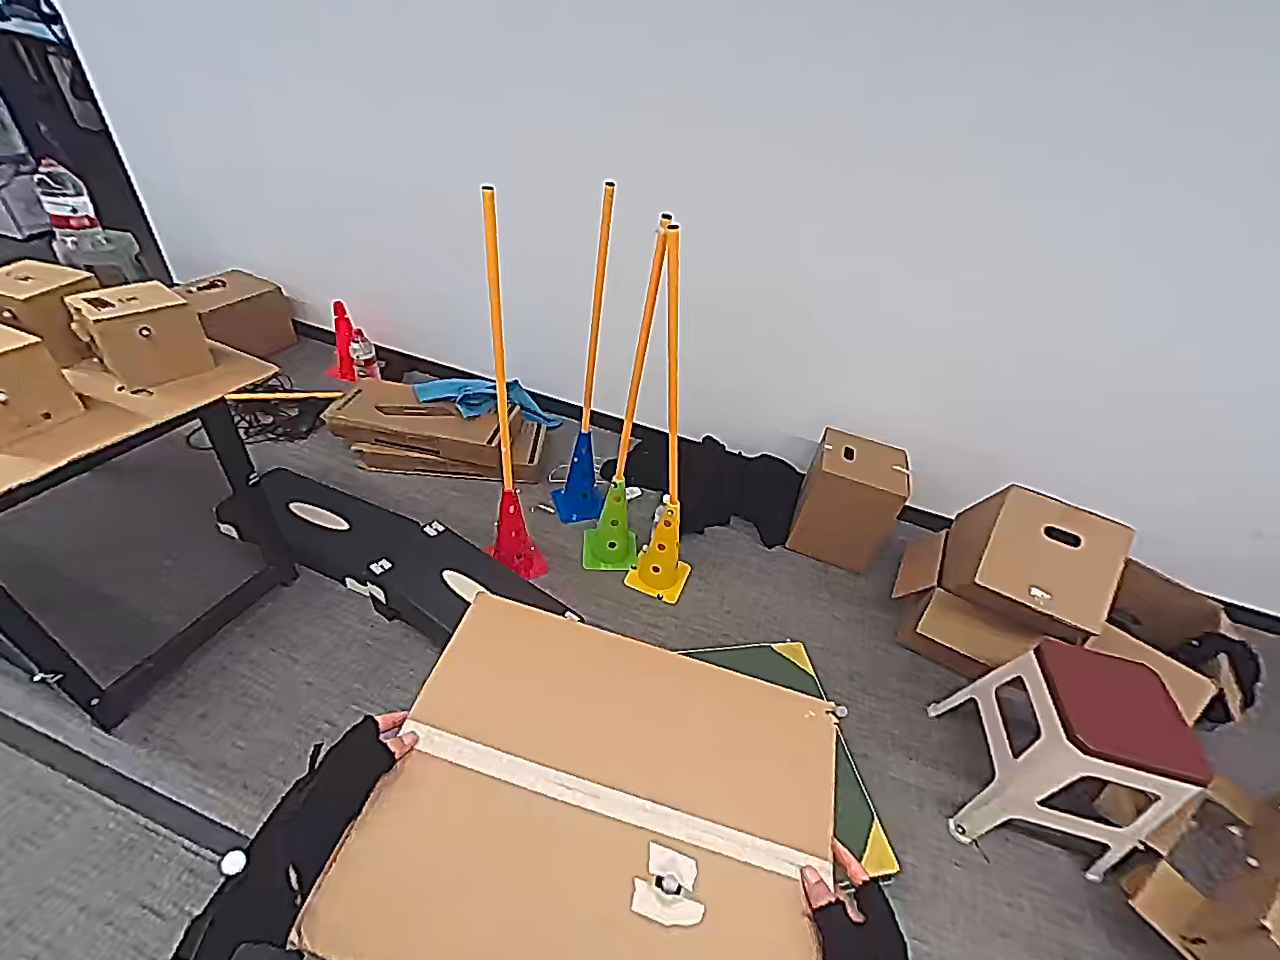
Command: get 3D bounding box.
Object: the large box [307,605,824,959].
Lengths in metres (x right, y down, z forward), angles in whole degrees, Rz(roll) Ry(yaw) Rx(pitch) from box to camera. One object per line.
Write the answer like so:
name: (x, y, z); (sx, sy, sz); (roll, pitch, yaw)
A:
large box: (-0.051, 0.397, 0.603); (0.408, 0.320, 0.320); (17, 48, 4)
